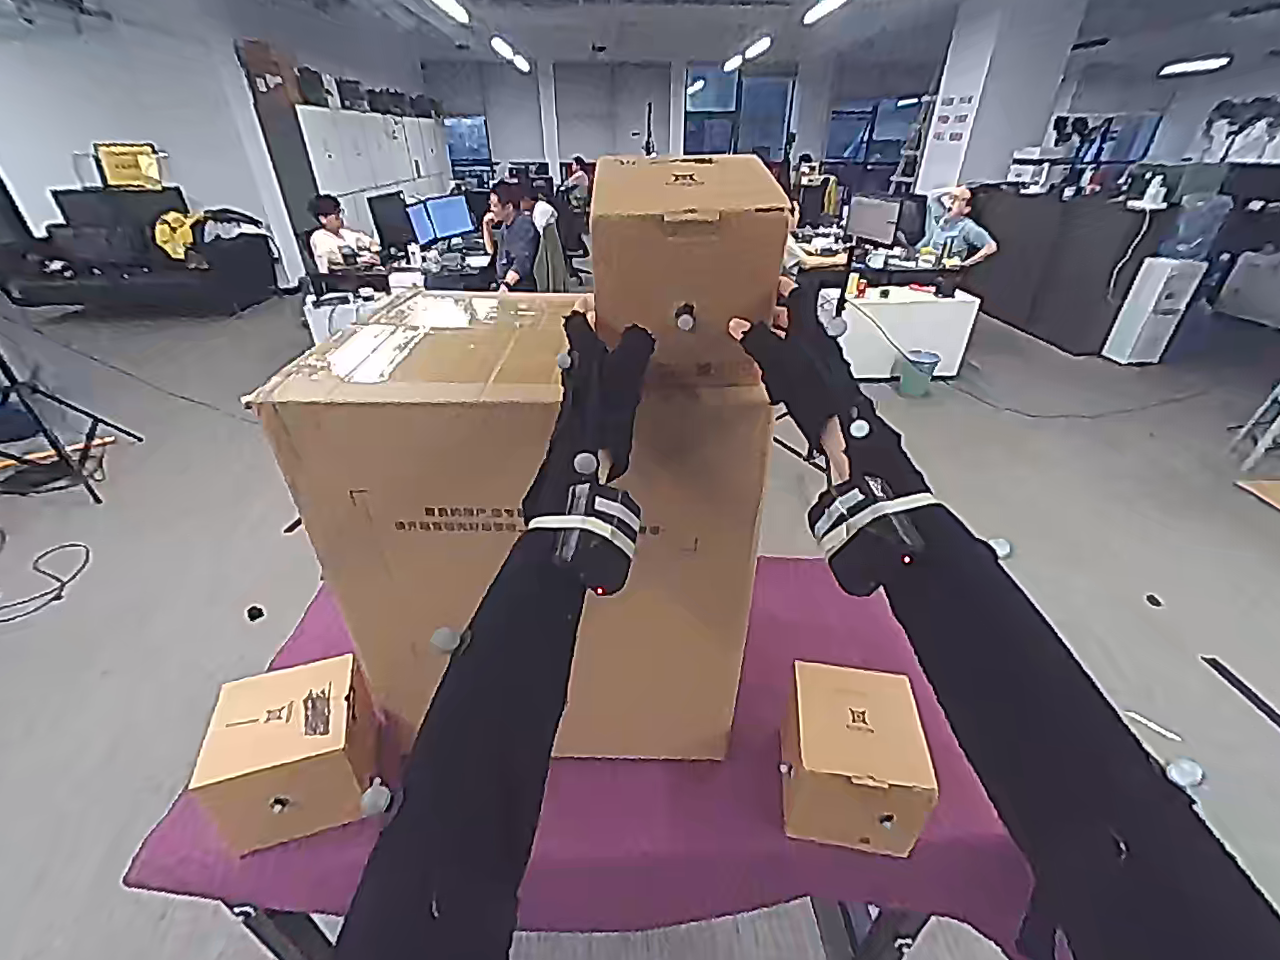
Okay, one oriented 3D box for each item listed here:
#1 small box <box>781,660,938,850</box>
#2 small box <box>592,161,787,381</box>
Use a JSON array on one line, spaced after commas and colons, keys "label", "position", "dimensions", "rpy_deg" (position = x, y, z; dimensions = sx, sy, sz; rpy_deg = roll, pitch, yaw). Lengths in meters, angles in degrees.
[{"label": "small box", "position": [0.301, 0.395, 0.782], "dimensions": [0.168, 0.176, 0.179], "rpy_deg": [6, 31, 8]}, {"label": "small box", "position": [0.043, -0.213, 0.558], "dimensions": [0.168, 0.176, 0.179], "rpy_deg": [-1, 41, 0]}]
